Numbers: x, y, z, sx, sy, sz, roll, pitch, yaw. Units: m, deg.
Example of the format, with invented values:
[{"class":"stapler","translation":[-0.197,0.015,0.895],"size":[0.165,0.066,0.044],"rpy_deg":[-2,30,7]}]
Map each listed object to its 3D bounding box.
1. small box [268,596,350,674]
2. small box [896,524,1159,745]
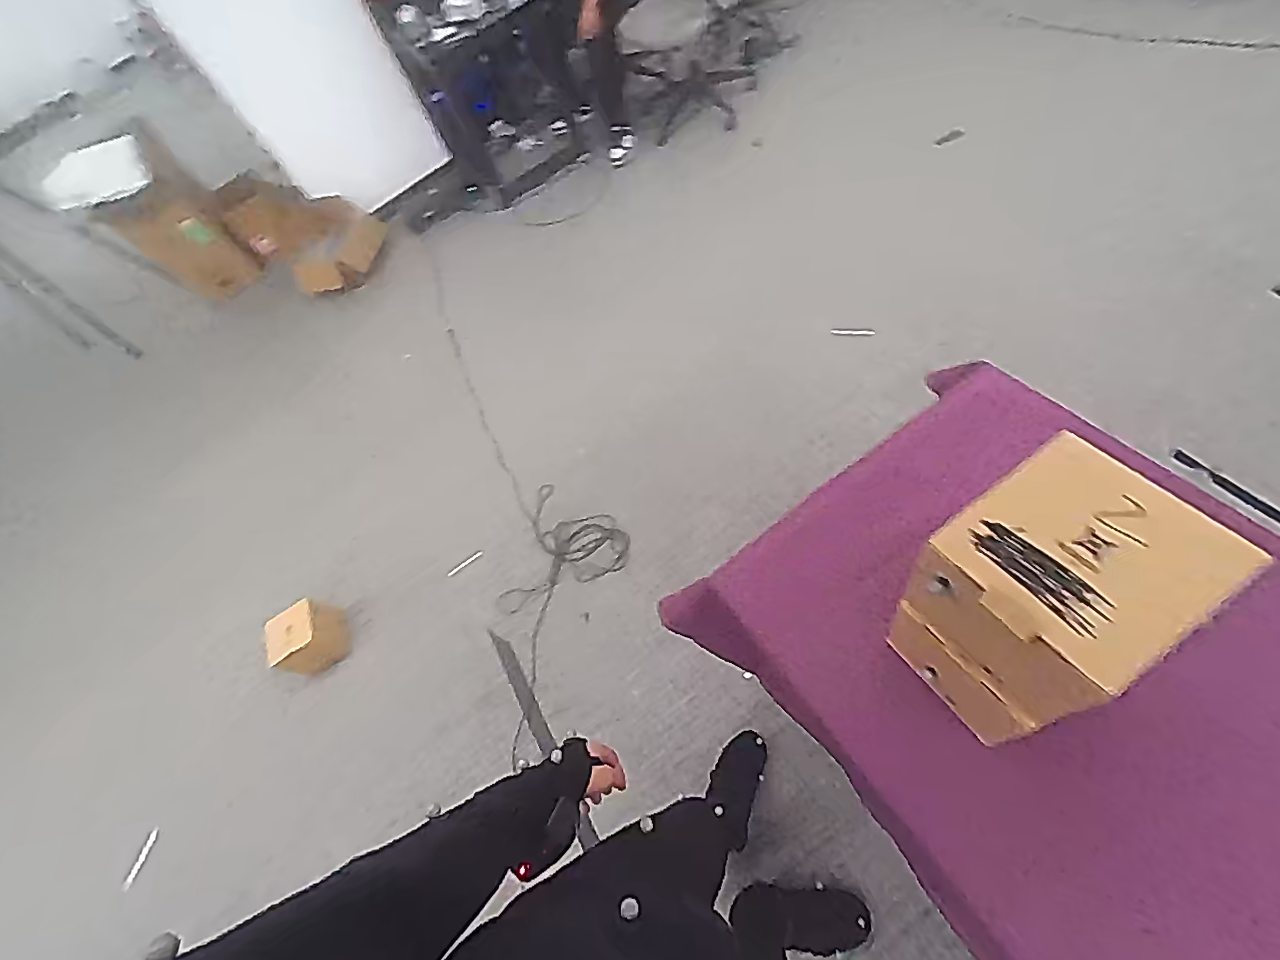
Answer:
[{"class":"small box","translation":[-1.124,0.532,1.840],"size":[0.168,0.176,0.179],"rpy_deg":[-32,56,-1]},{"class":"small box","translation":[0.437,0.190,0.649],"size":[0.179,0.176,0.168],"rpy_deg":[-36,56,-4]}]
